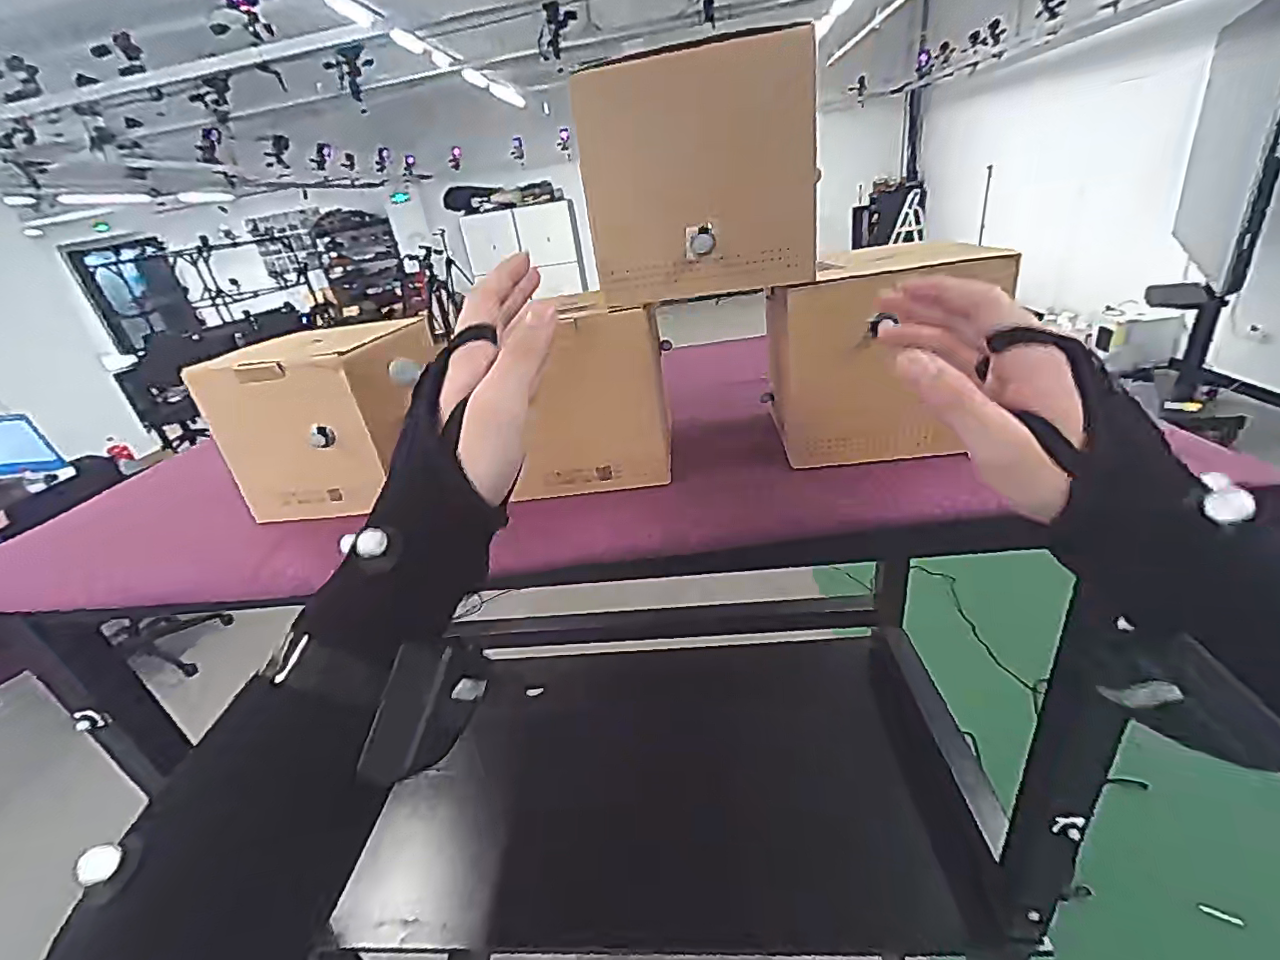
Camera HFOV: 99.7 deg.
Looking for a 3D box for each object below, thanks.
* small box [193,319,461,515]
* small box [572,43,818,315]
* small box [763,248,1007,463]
[{"bbox_3d":[-0.323,-0.070,0.604,0.168,0.176,0.179,-4,26,8],"label":"small box"},{"bbox_3d":[0.054,-0.255,0.485,0.179,0.176,0.168,-4,26,9],"label":"small box"},{"bbox_3d":[0.223,-0.124,0.538,0.179,0.176,0.168,-5,26,7],"label":"small box"}]
